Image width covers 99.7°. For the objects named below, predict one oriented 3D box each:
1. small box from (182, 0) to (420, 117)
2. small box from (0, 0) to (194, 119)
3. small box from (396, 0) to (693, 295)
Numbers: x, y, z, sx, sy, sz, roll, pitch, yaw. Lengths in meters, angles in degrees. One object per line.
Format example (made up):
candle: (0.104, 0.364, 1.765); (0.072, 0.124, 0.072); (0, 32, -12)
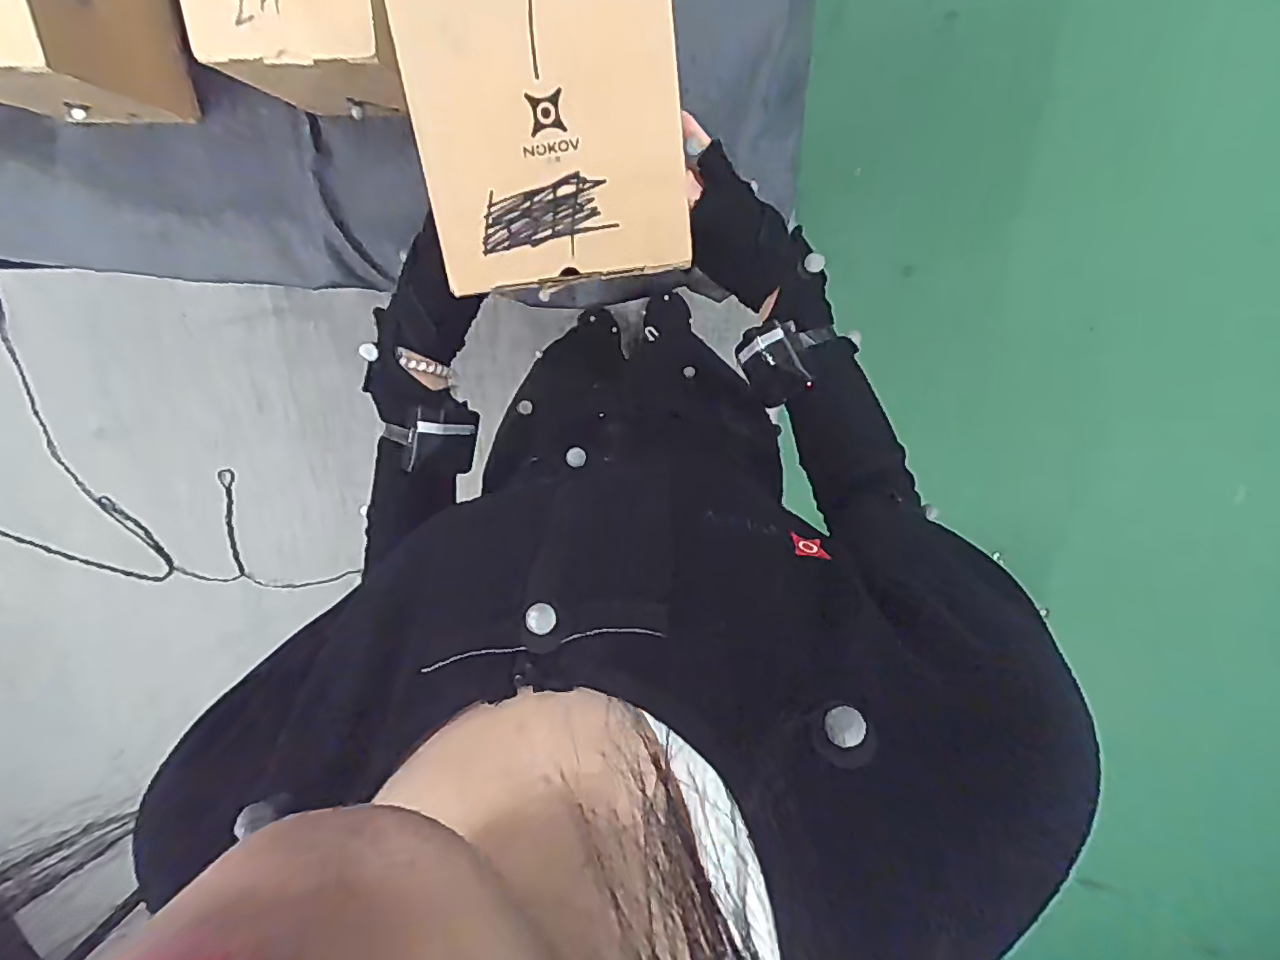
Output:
small box: (-0.291, -0.465, 0.503); (0.168, 0.176, 0.179); (2, 111, 2)
small box: (-0.589, -0.471, 0.517); (0.168, 0.176, 0.179); (1, 112, 2)
small box: (-0.047, -0.242, 0.406); (0.168, 0.176, 0.179); (-5, 110, 5)
